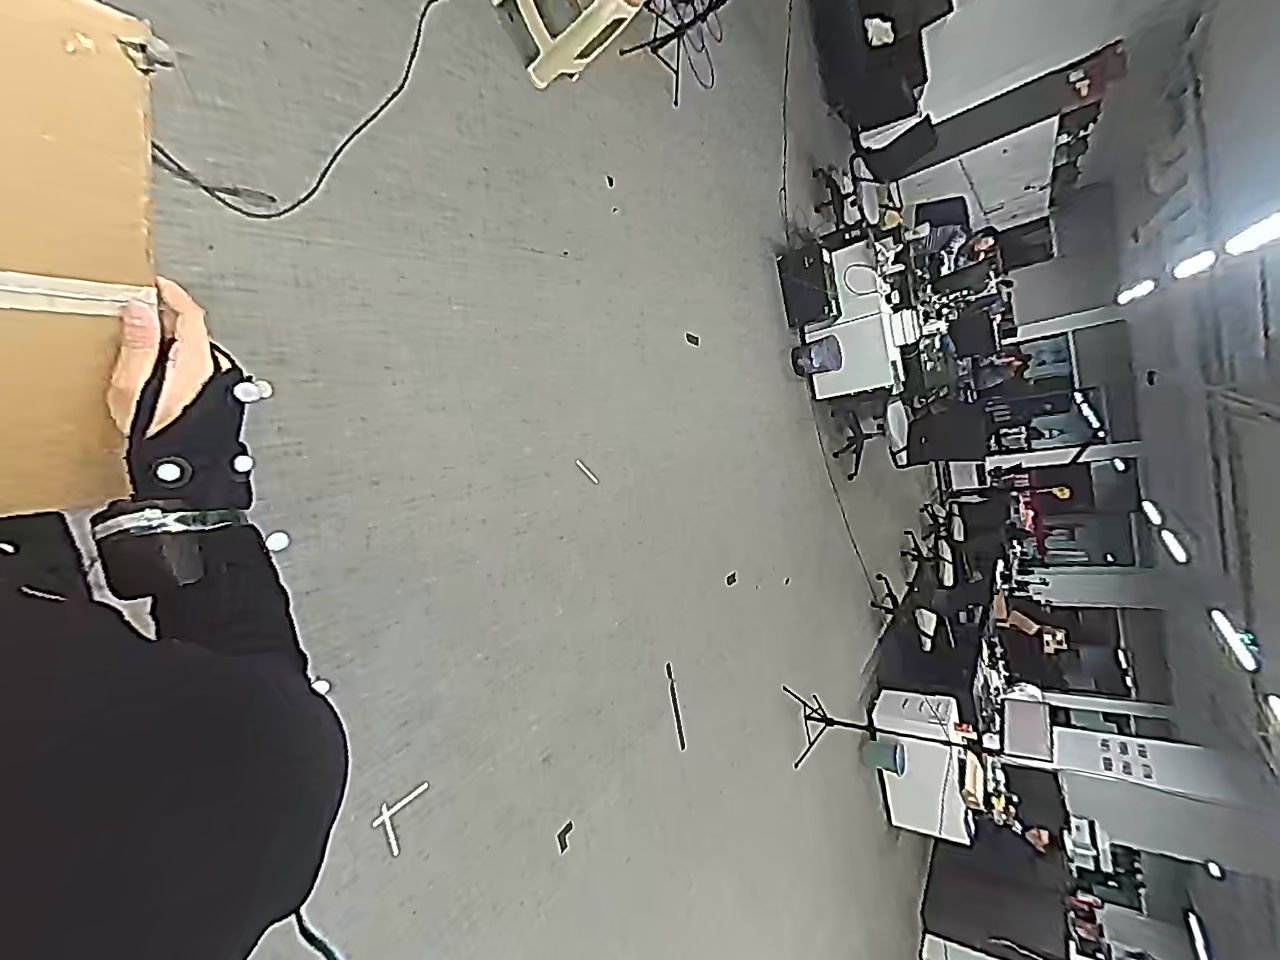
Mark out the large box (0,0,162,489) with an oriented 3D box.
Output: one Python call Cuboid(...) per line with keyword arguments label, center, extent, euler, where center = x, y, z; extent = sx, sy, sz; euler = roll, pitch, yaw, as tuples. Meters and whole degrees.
Cuboid(label="large box", center=(-0.565, -0.182, 0.288), extent=(0.408, 0.320, 0.320), euler=(-12, 131, -51))
